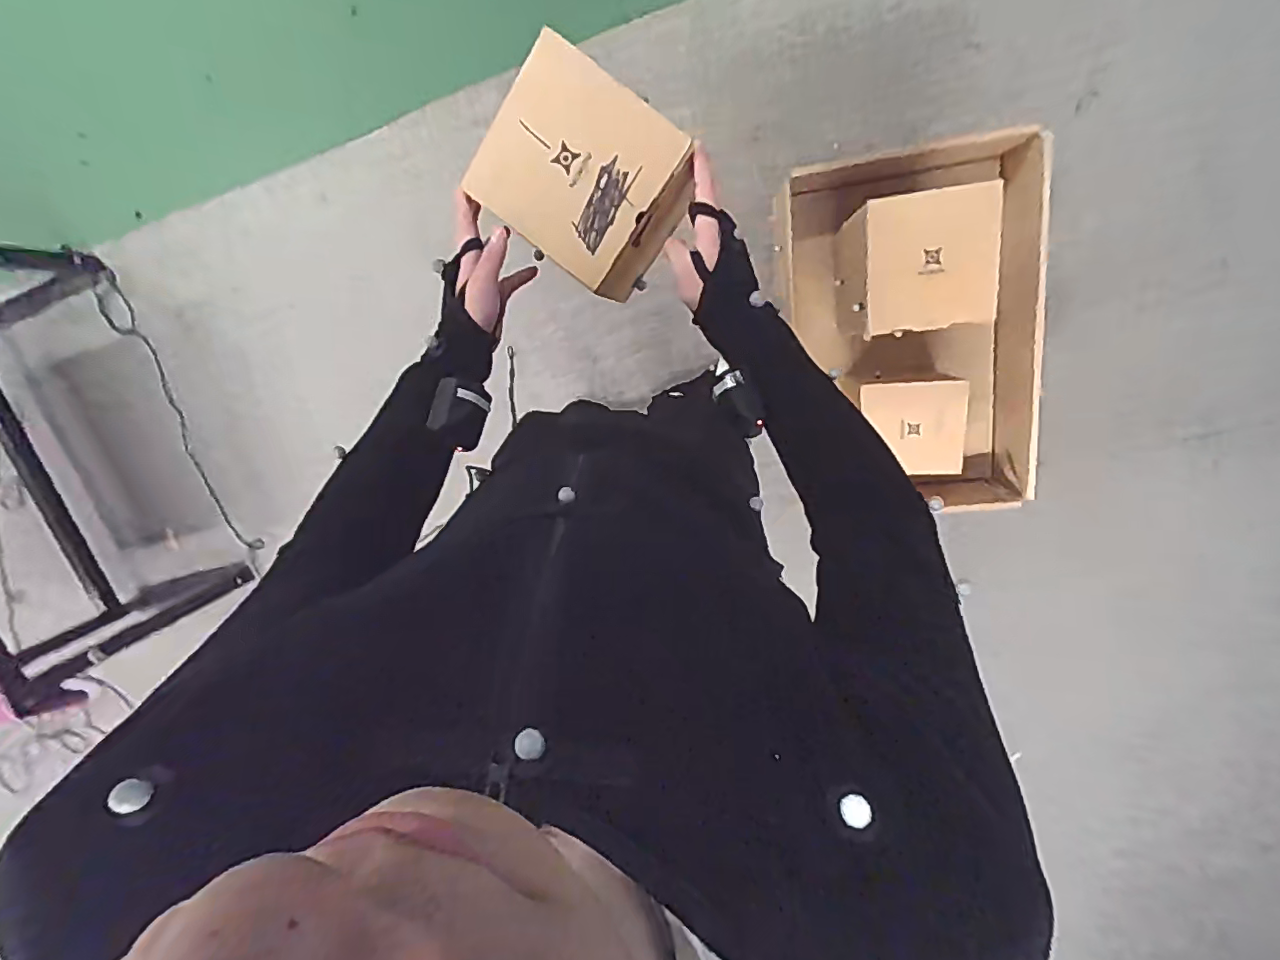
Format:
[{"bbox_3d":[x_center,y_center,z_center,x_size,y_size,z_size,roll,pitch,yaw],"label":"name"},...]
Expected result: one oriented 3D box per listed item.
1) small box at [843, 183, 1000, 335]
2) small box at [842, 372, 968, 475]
[{"bbox_3d":[0.400,-0.314,0.799,0.168,0.176,0.179,-4,107,12],"label":"small box"},{"bbox_3d":[0.483,-0.111,1.015,0.179,0.176,0.168,0,107,11],"label":"small box"}]
